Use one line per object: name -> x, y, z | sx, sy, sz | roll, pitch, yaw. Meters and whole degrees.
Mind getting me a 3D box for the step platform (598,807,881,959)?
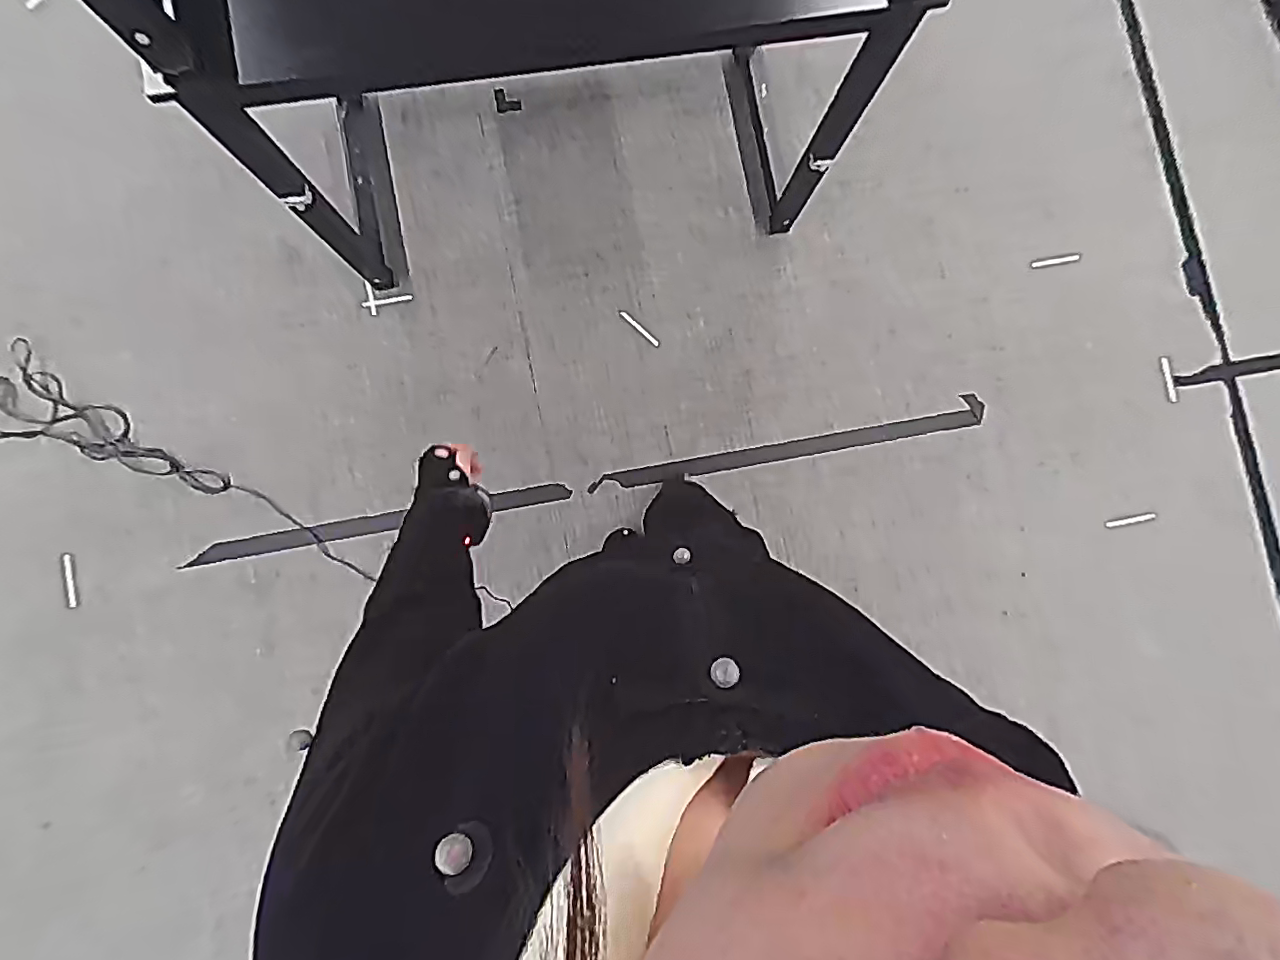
step platform -> 0.239, 1.046, 1.352 | 0.684, 0.204, 0.286 | -5, 87, -5
